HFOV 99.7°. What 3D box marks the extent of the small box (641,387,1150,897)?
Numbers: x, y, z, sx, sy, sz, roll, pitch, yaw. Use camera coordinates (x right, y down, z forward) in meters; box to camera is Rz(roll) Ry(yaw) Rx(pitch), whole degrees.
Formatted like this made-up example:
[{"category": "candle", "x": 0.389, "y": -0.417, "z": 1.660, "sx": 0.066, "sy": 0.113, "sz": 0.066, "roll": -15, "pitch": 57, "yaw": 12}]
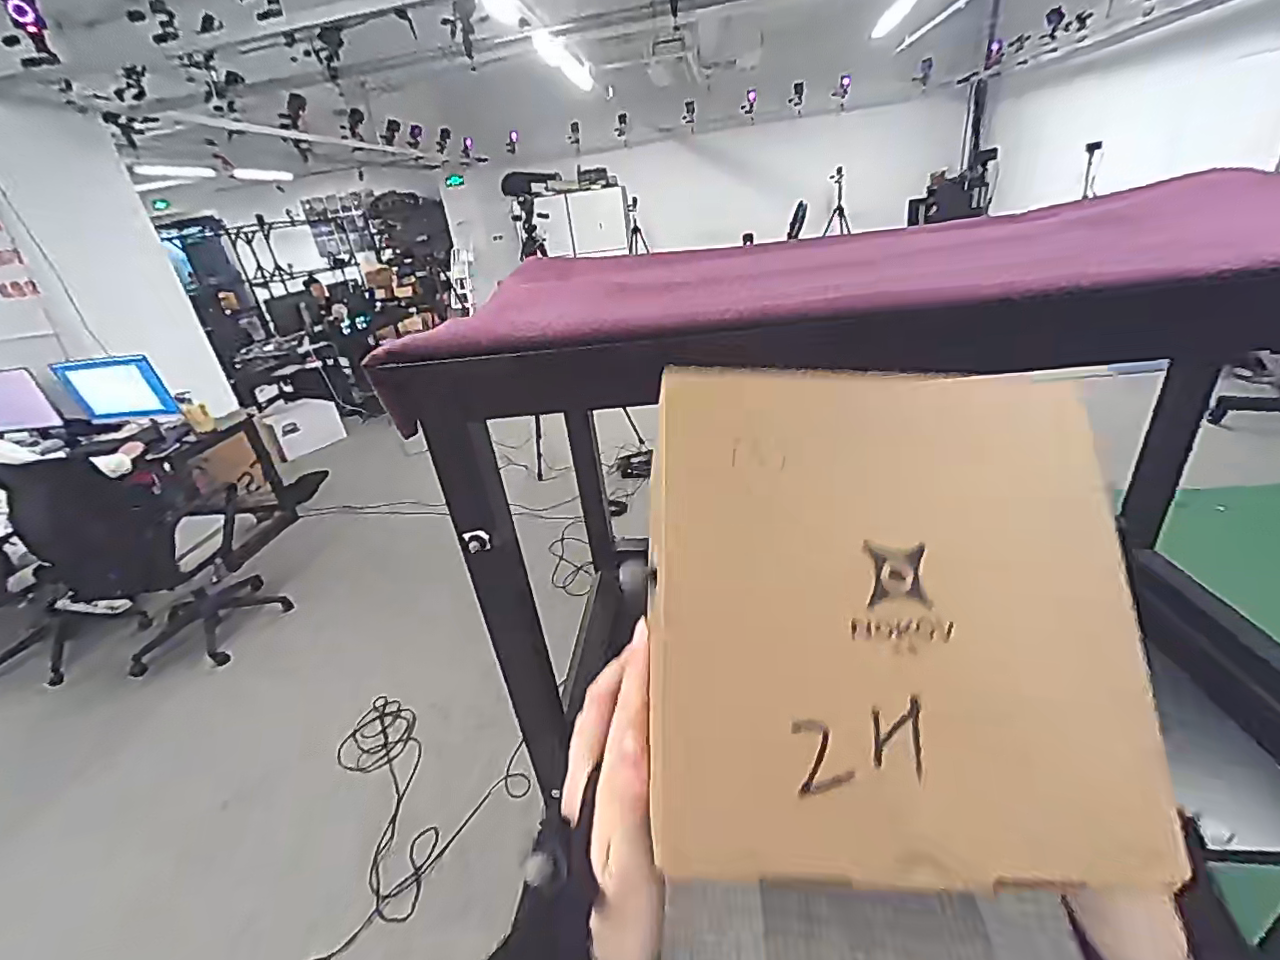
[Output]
[{"category": "small box", "x": 0.086, "y": 0.069, "z": 0.274, "sx": 0.168, "sy": 0.179, "sz": 0.176, "roll": 1, "pitch": -14, "yaw": 1}]
